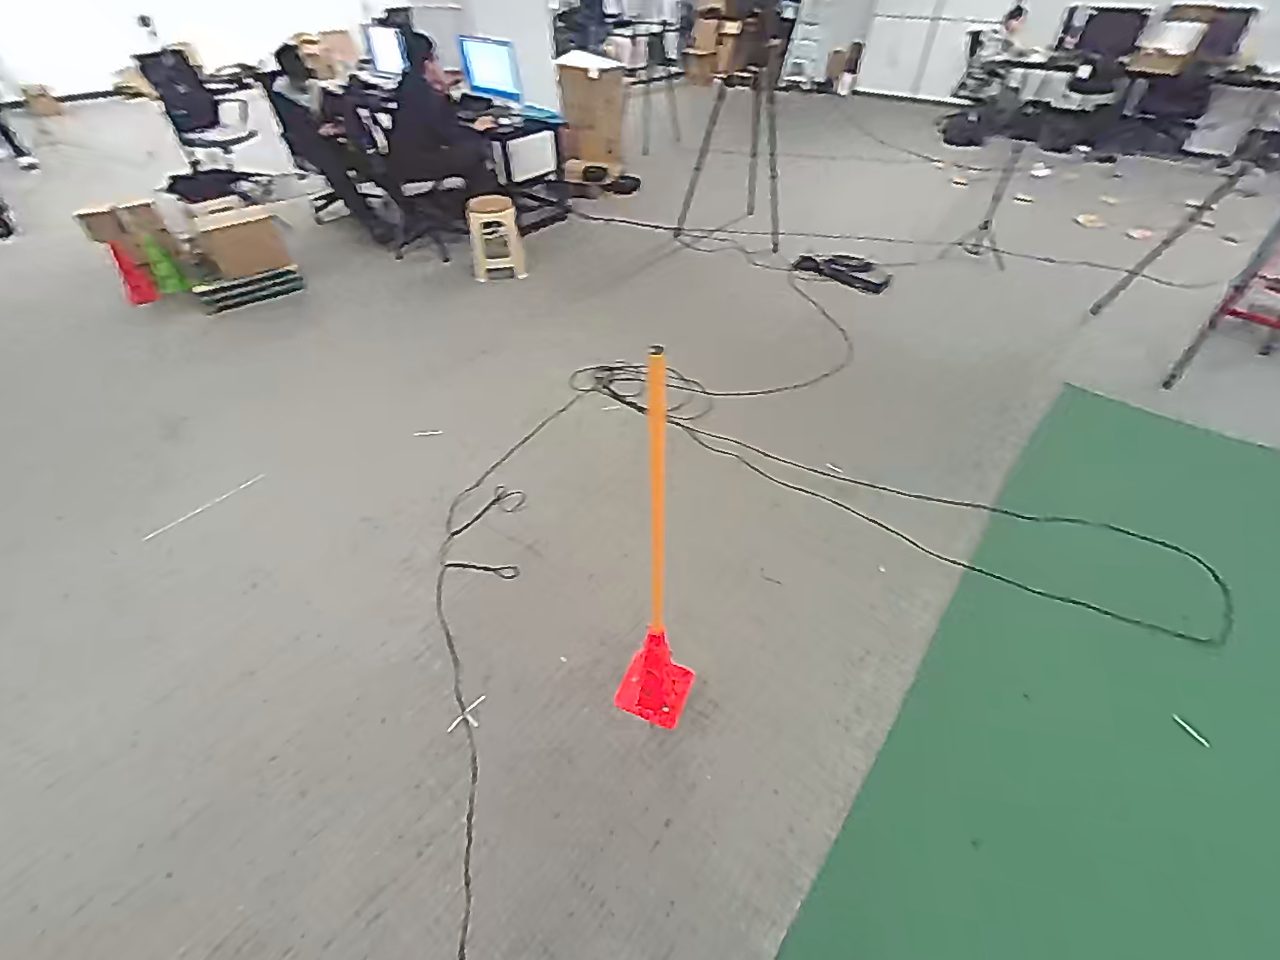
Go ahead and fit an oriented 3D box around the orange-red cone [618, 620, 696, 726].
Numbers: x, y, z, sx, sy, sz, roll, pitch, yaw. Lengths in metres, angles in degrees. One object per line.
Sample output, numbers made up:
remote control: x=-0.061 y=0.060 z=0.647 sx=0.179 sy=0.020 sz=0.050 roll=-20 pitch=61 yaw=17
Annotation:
orange-red cone: x=0.055 y=0.511 z=1.544 sx=0.198 sy=0.360 sz=0.199 roll=18 pitch=46 yaw=18
